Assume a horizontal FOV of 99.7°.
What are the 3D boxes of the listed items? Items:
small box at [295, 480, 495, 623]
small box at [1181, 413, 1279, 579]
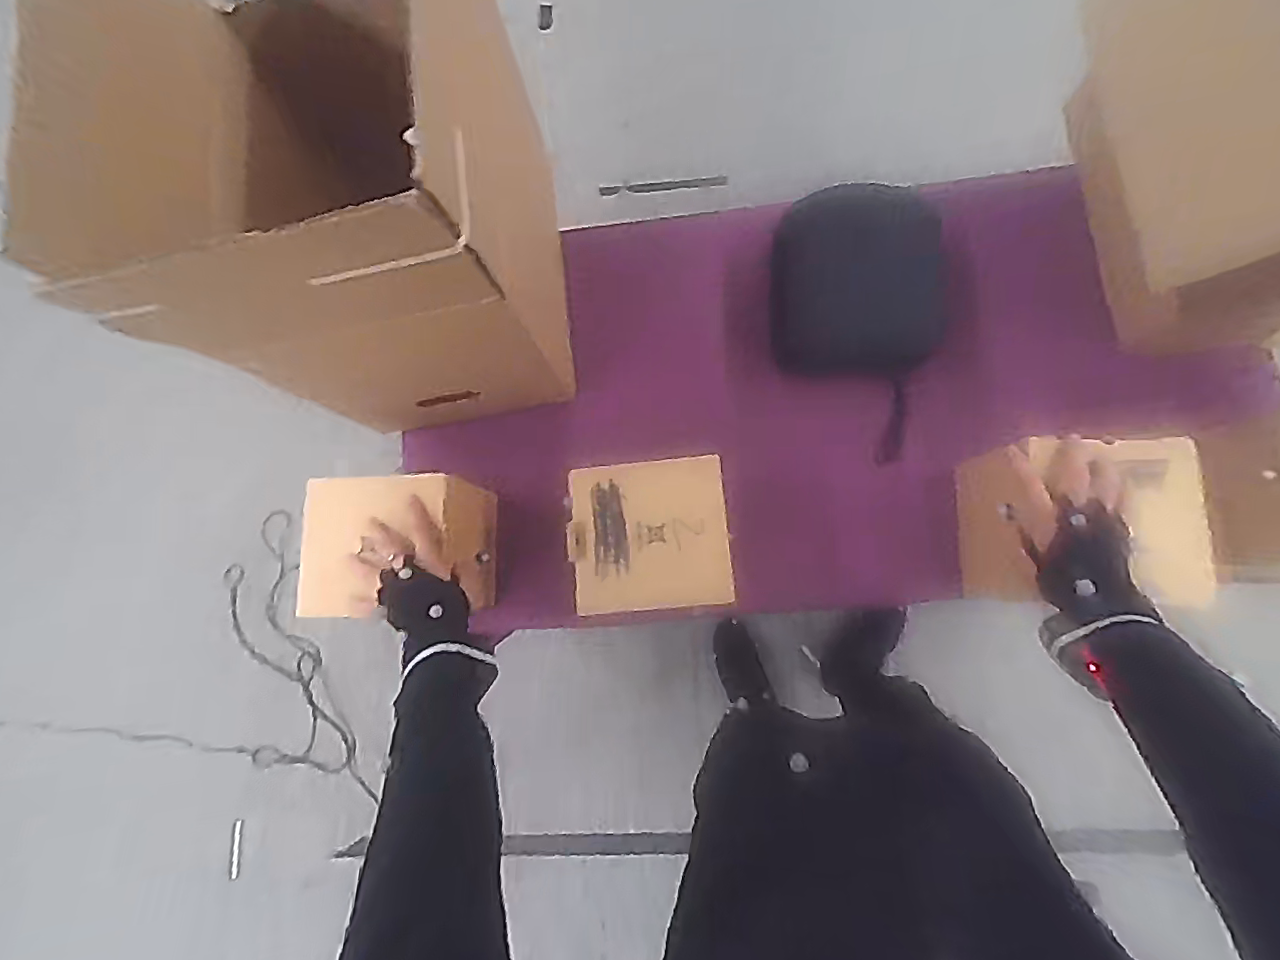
[{"bbox_3d":[-0.305,0.099,0.707,0.179,0.176,0.168,-3,79,4],"label":"small box"},{"bbox_3d":[0.769,0.019,0.608,0.168,0.176,0.179,6,80,8],"label":"small box"}]
